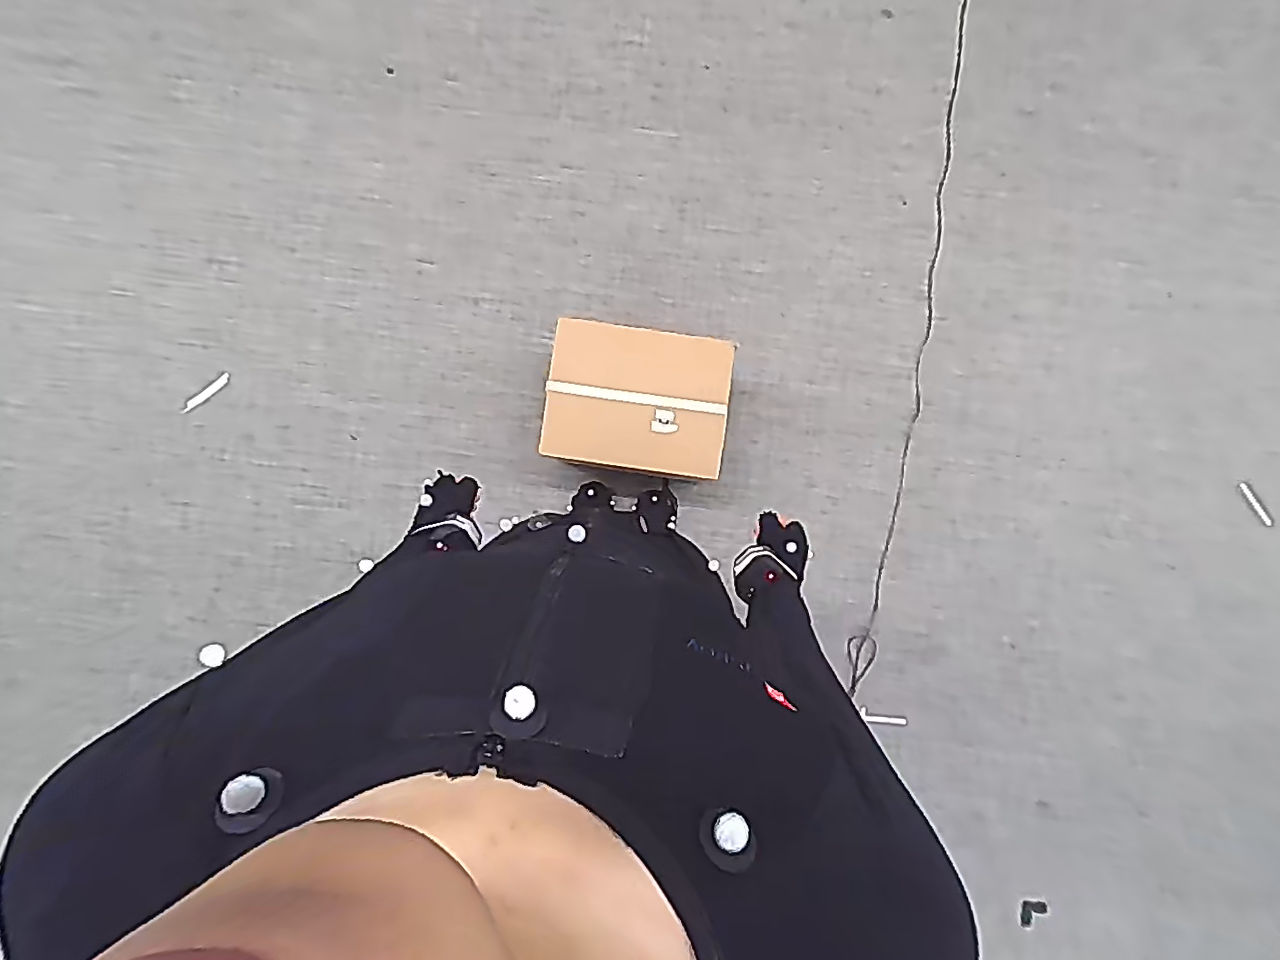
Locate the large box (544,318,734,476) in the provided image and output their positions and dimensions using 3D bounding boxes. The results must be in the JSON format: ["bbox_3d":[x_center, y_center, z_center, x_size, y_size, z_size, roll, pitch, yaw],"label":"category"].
[{"bbox_3d":[-0.006,-0.188,1.360,0.408,0.320,0.320,8,89,-1],"label":"large box"}]
